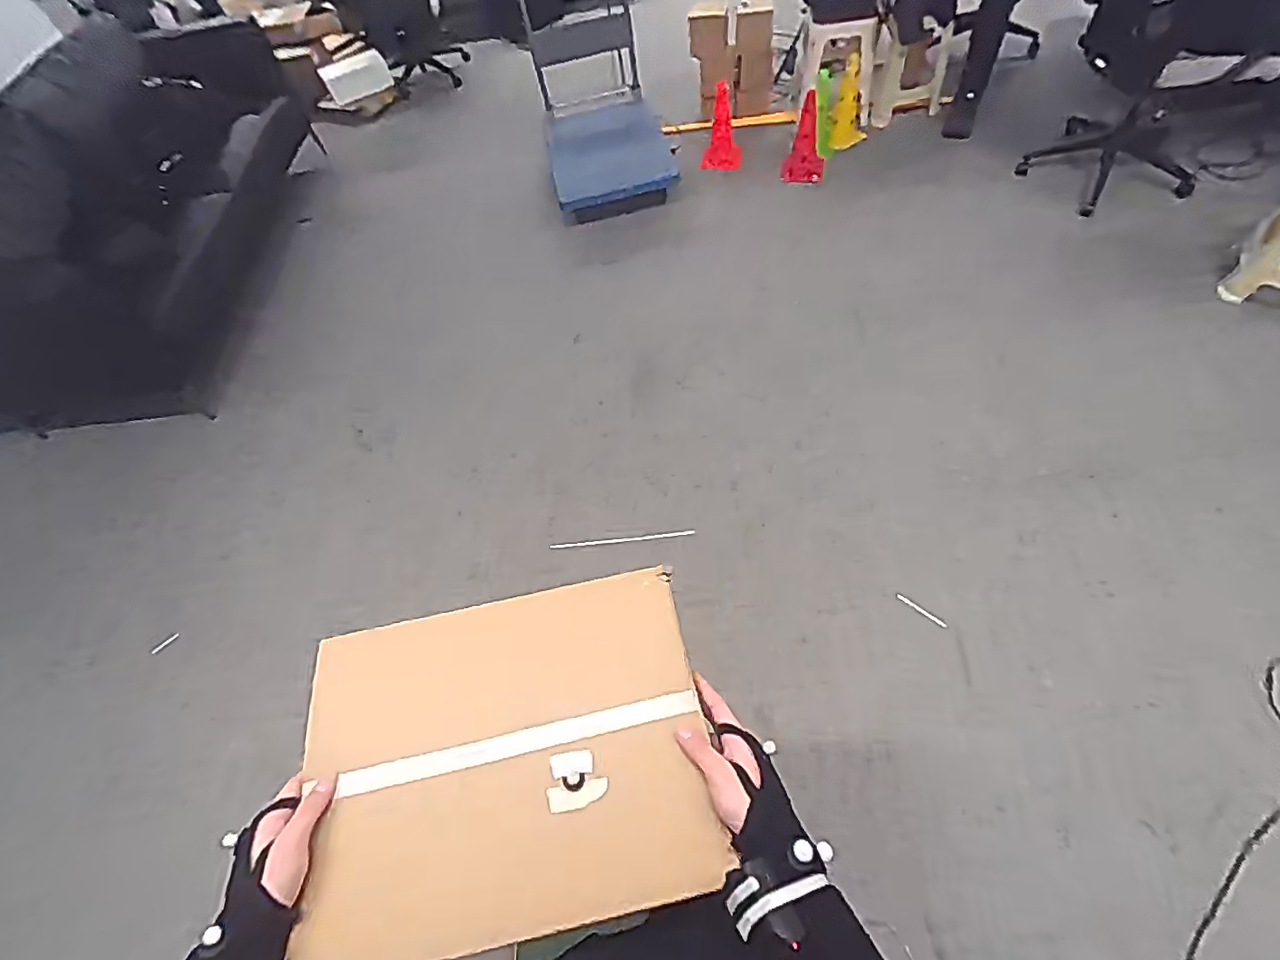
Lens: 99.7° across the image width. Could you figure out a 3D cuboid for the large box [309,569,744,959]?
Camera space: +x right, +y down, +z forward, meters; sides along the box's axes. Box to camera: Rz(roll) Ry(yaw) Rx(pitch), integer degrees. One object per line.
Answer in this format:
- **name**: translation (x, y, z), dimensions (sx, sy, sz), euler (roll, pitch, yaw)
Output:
- **large box**: translation (-0.122, 0.355, 0.686), dimensions (0.408, 0.320, 0.320), euler (-12, 58, -5)
